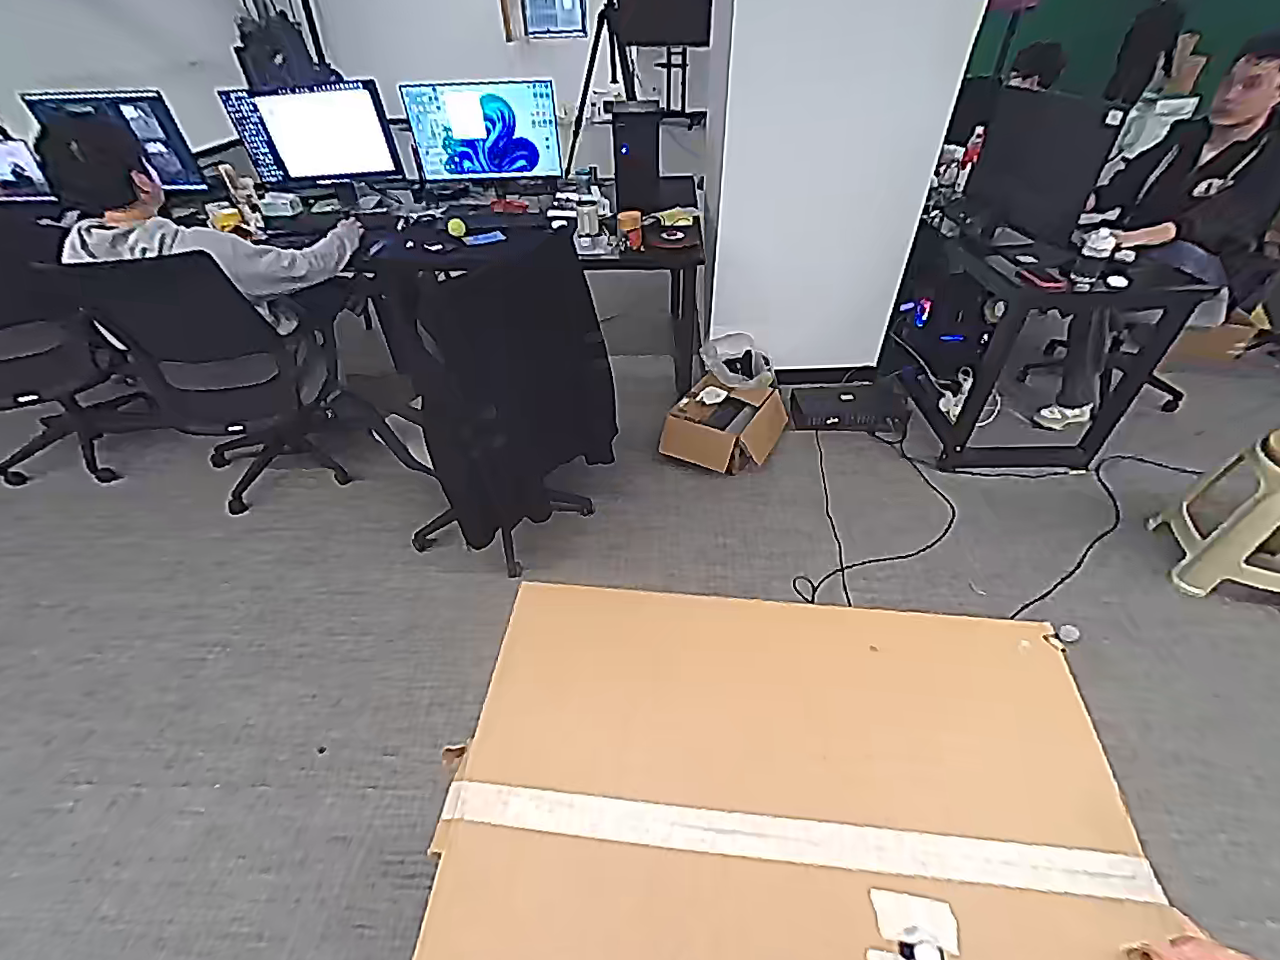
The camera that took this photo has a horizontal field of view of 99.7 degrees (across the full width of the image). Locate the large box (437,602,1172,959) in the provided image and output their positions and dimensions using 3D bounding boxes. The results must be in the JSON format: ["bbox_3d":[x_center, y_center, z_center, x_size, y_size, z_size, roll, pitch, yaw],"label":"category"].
[{"bbox_3d":[0.093,0.320,0.439,0.408,0.320,0.320,3,50,5],"label":"large box"}]
